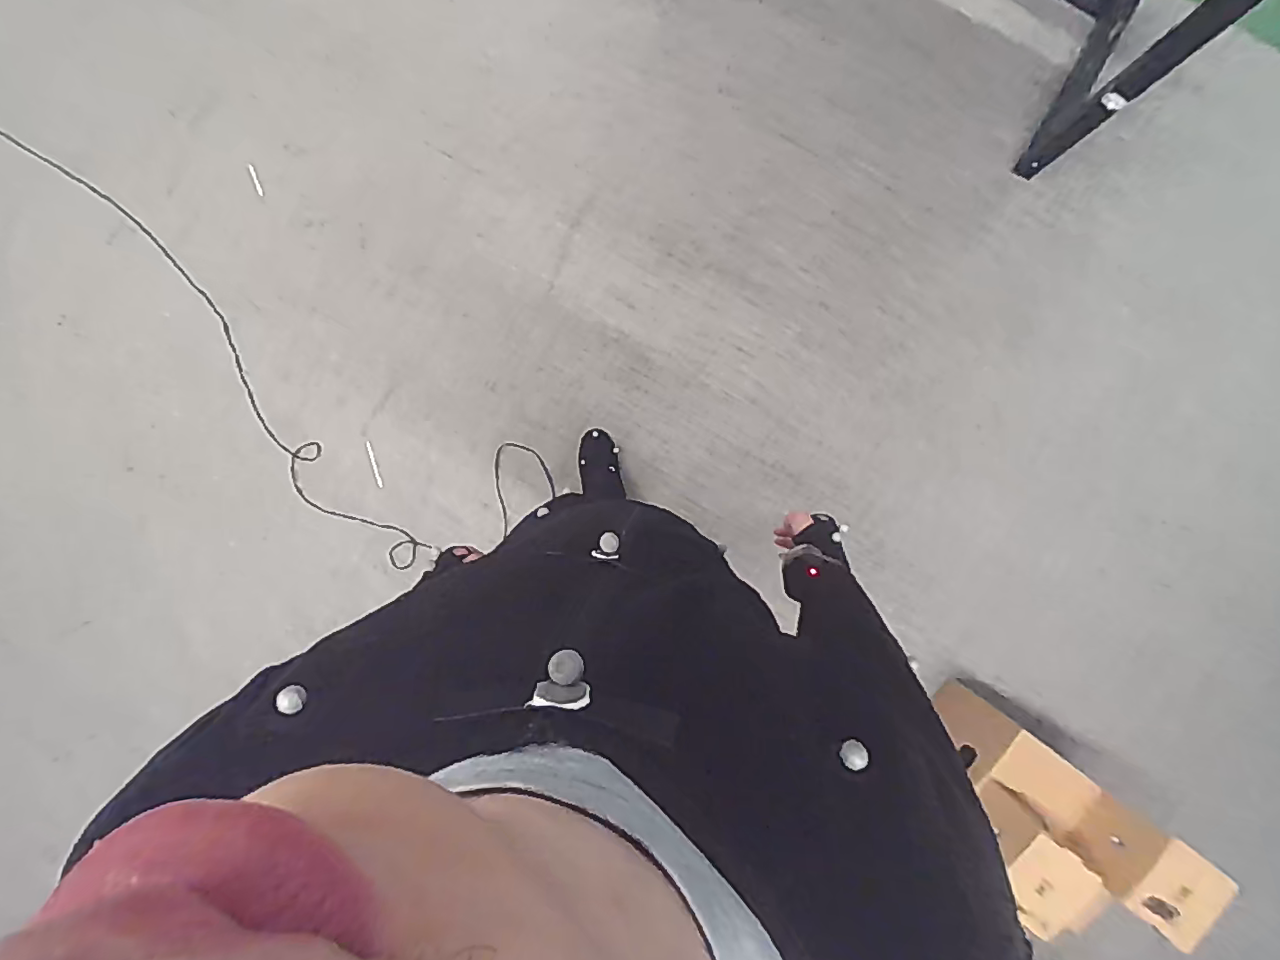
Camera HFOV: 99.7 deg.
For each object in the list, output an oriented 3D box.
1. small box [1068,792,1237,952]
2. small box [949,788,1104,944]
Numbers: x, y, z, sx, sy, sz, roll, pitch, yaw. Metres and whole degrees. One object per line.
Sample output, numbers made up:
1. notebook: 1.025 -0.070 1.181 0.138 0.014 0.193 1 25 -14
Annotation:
1. small box: 1.074 0.824 1.155 0.168 0.176 0.179 38 89 -1
2. small box: 0.812 0.811 1.157 0.168 0.176 0.179 38 93 -1
